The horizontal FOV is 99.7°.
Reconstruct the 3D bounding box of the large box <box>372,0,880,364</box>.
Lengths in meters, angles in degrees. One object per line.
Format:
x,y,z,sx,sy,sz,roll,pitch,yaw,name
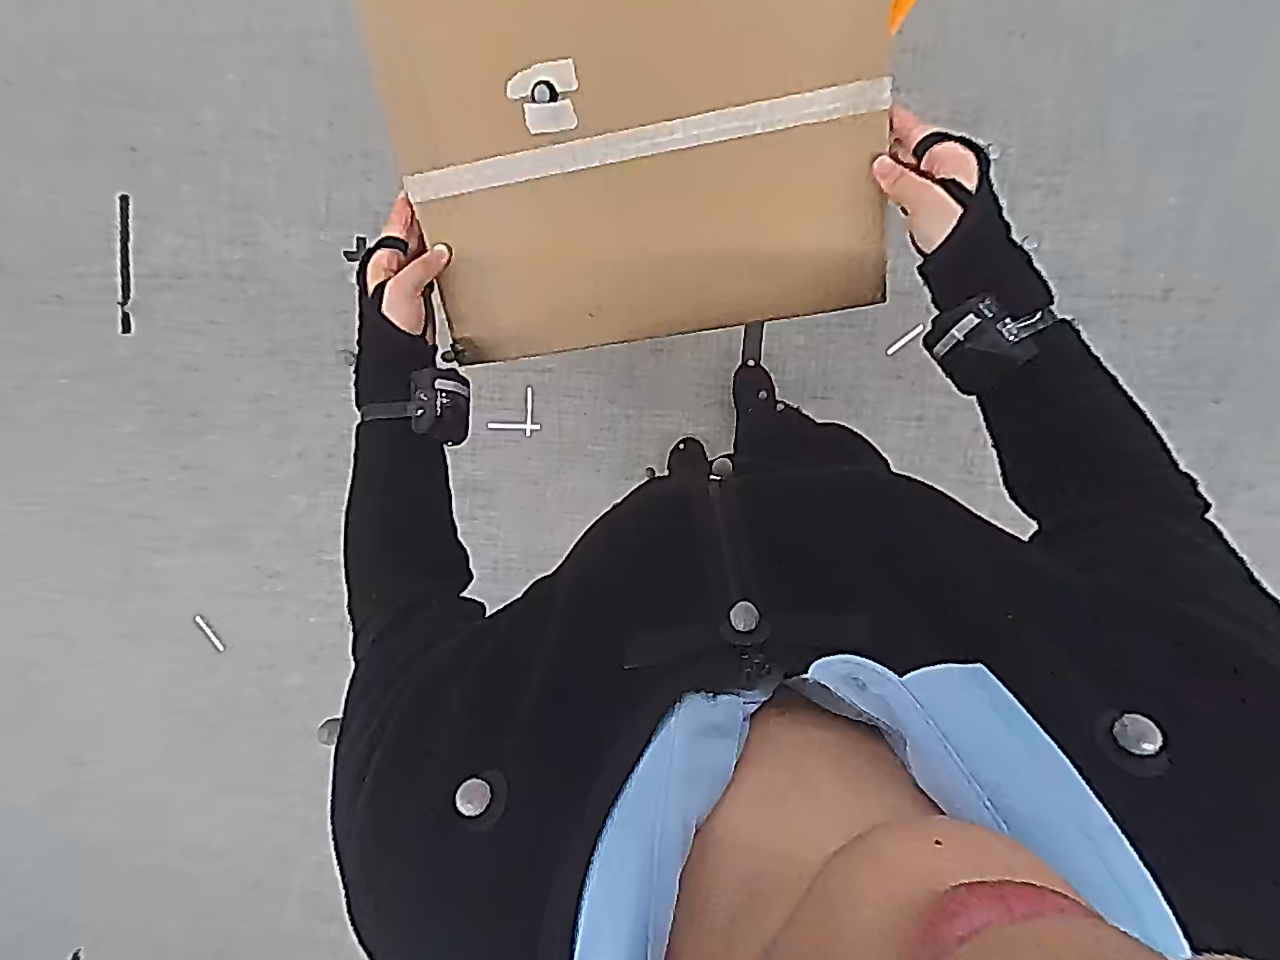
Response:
0.012,-0.340,0.604,0.408,0.320,0.320,-7,110,8,large box
